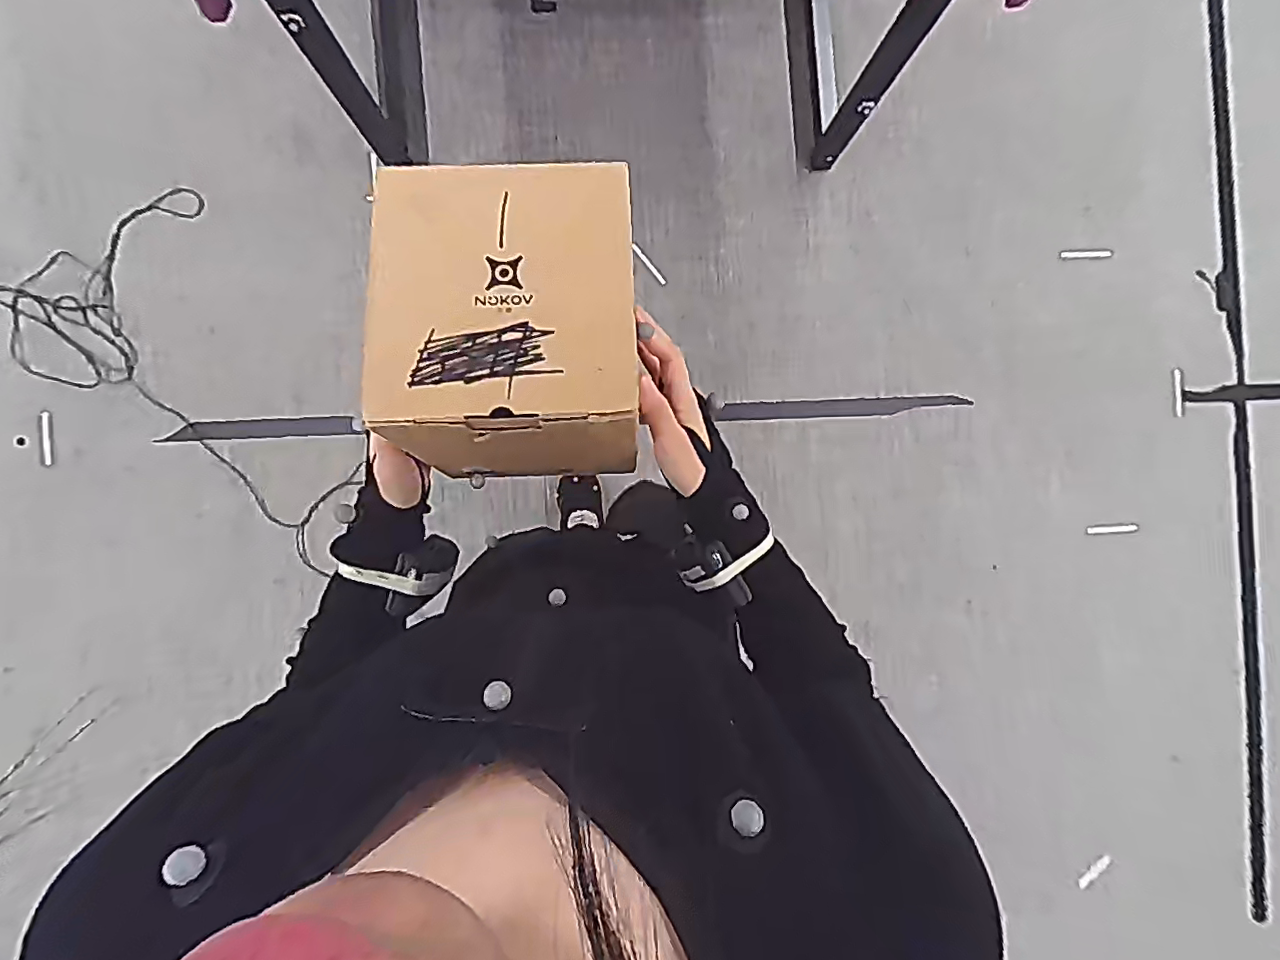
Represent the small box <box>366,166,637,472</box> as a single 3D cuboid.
[{"bbox_3d":[-0.086,-0.104,0.418,0.168,0.176,0.179,-2,78,-2],"label":"small box"}]
